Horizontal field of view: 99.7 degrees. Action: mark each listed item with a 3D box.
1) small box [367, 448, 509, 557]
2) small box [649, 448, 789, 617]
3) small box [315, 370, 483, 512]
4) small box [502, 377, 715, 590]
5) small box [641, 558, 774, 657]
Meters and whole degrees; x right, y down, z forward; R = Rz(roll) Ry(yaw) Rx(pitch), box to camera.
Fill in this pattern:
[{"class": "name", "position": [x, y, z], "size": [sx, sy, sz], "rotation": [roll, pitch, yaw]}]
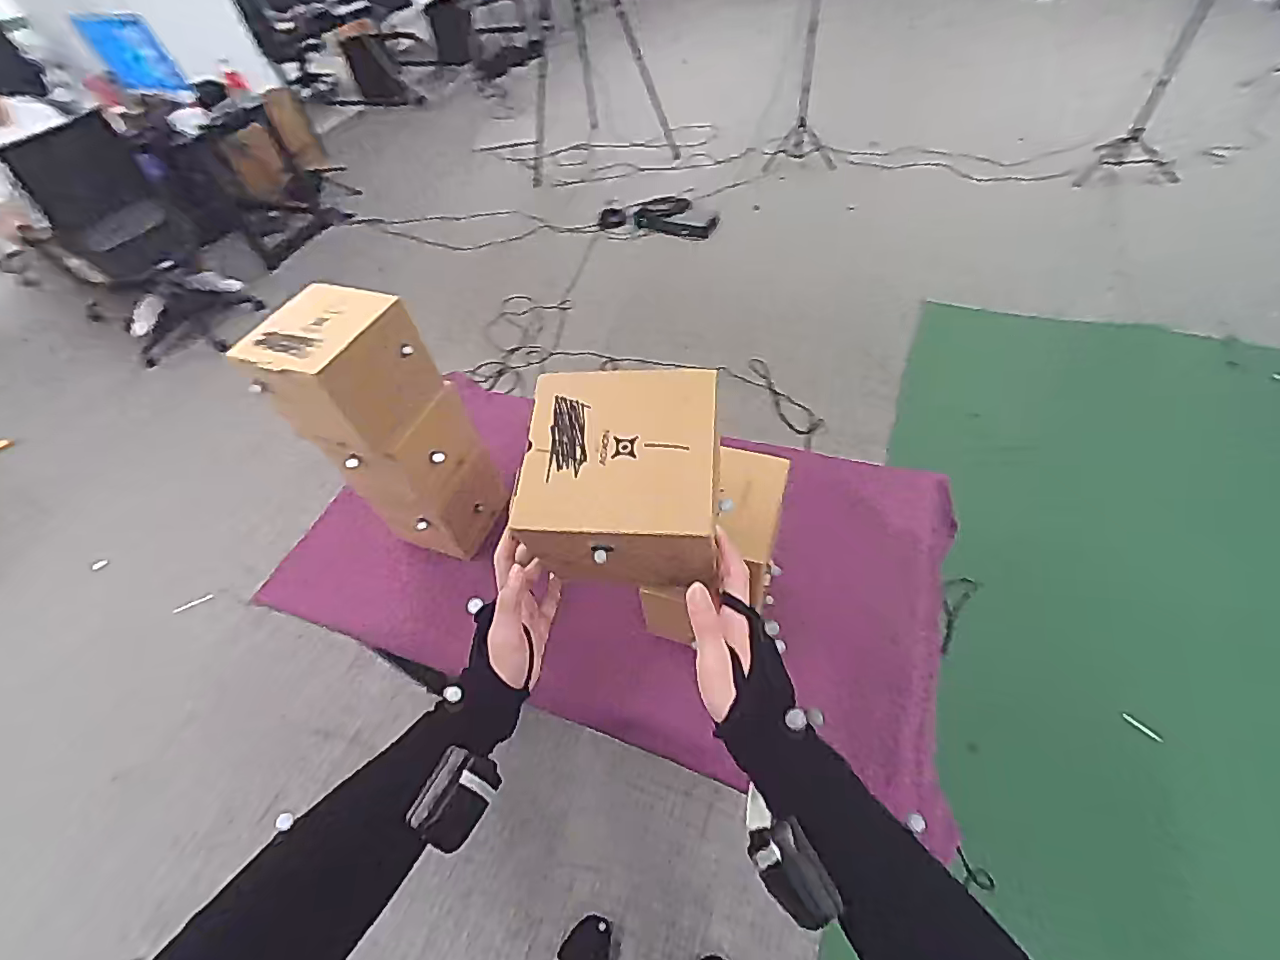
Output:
[{"class": "small box", "position": [-0.387, 0.033, 1.075], "size": [0.179, 0.176, 0.168], "rotation": [14, 55, 18]}, {"class": "small box", "position": [0.100, 0.072, 0.765], "size": [0.179, 0.176, 0.168], "rotation": [13, 56, 18]}, {"class": "small box", "position": [-0.406, -0.063, 0.947], "size": [0.179, 0.176, 0.168], "rotation": [13, 56, 18]}, {"class": "small box", "position": [-0.016, 0.012, 0.556], "size": [0.179, 0.176, 0.168], "rotation": [0, 65, 10]}, {"class": "small box", "position": [0.117, 0.173, 0.892], "size": [0.179, 0.176, 0.168], "rotation": [12, 54, 17]}]
